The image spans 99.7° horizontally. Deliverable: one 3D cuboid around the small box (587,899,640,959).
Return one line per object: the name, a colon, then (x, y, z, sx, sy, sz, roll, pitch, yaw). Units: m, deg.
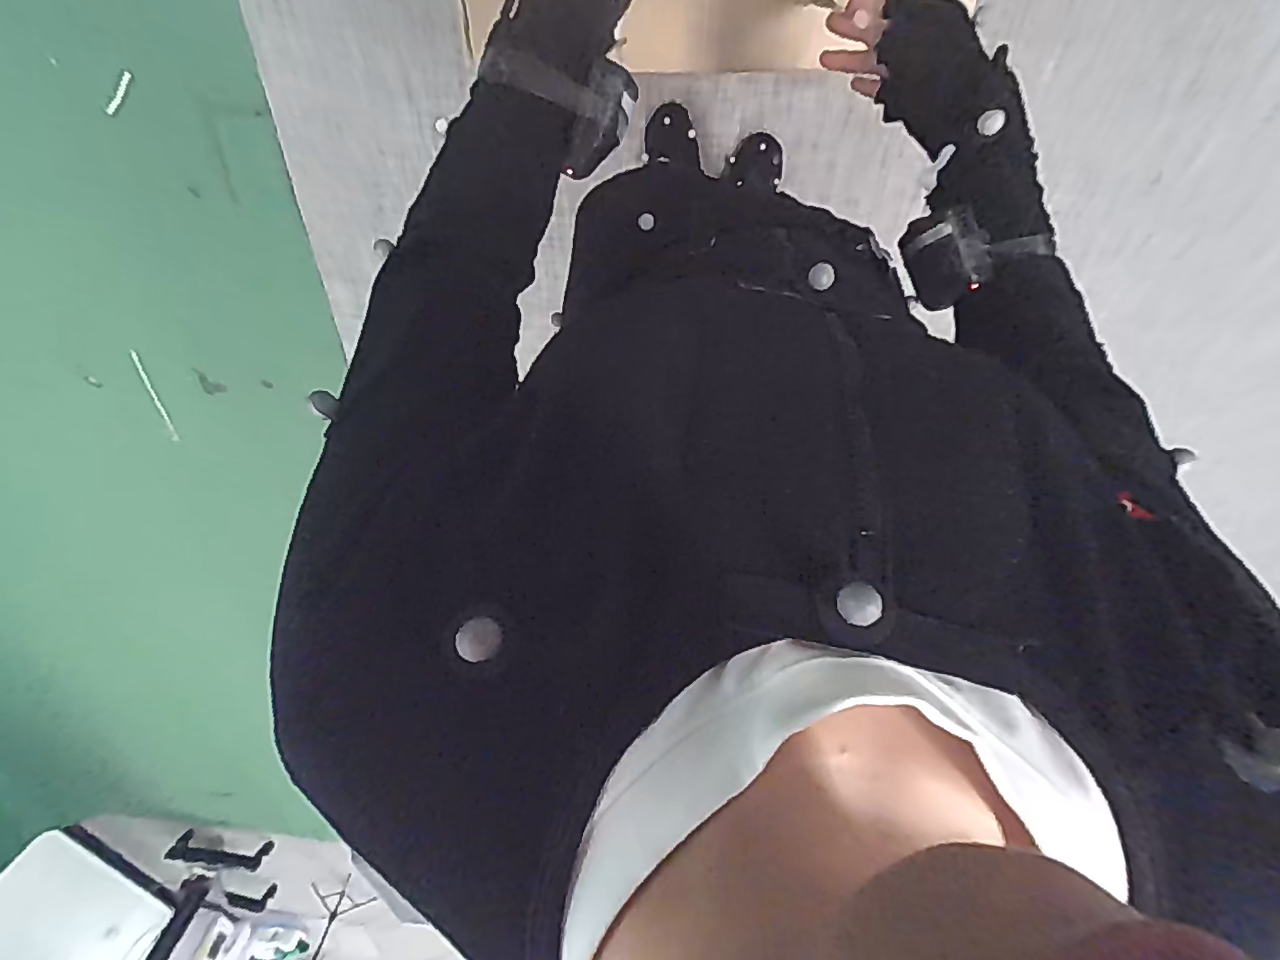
small box: (-0.088, 1.565, 1.852, 0.168, 0.176, 0.179, 3, 127, 4)

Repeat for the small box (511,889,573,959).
small box: (-0.332, 1.553, 1.871, 0.168, 0.176, 0.179, 1, 125, 4)
